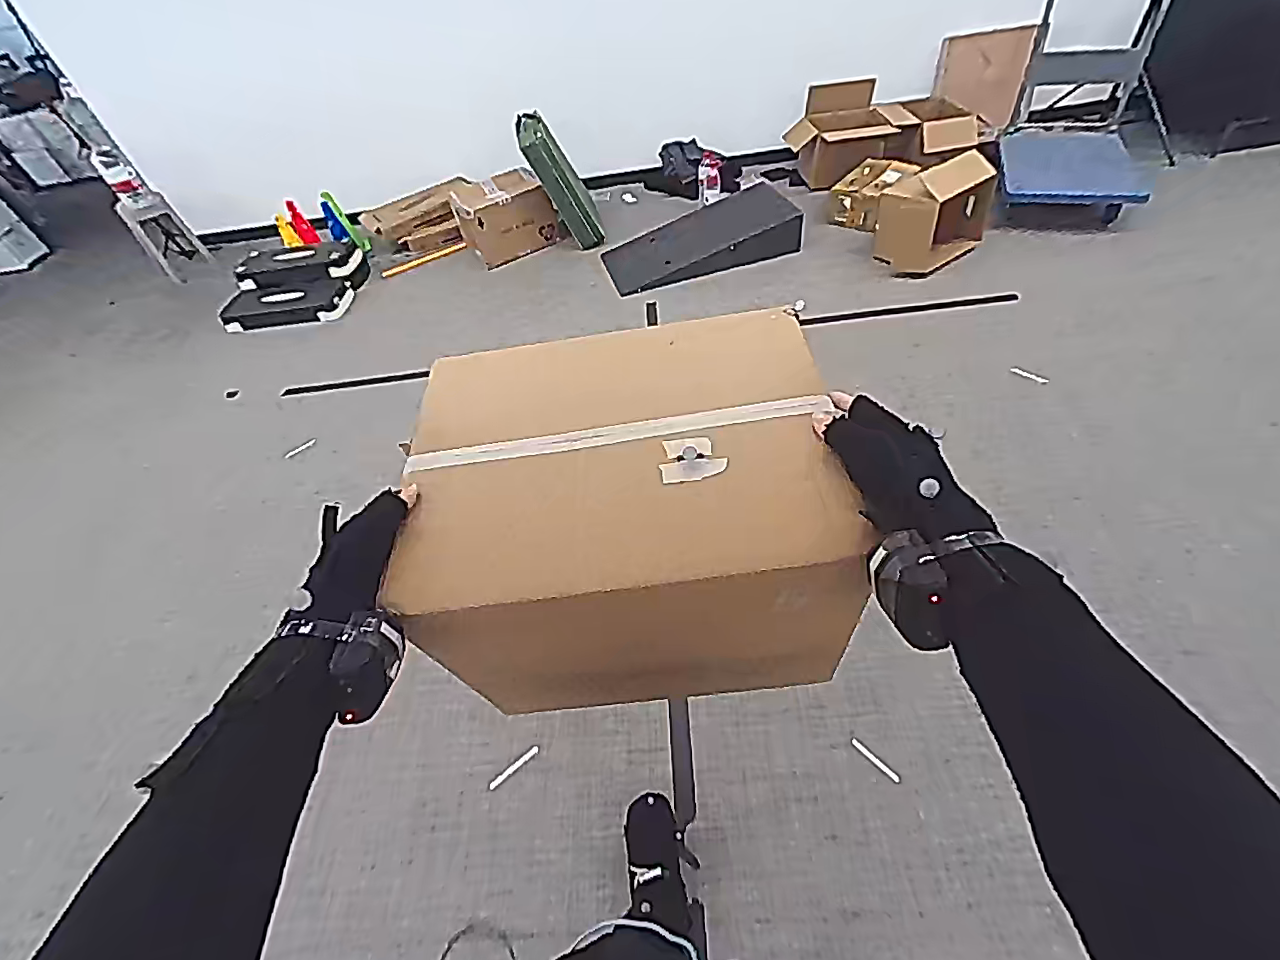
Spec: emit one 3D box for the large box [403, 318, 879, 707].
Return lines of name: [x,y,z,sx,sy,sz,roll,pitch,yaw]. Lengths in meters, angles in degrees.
large box: [0.002,0.052,0.647,0.408,0.320,0.320,-7,53,3]
